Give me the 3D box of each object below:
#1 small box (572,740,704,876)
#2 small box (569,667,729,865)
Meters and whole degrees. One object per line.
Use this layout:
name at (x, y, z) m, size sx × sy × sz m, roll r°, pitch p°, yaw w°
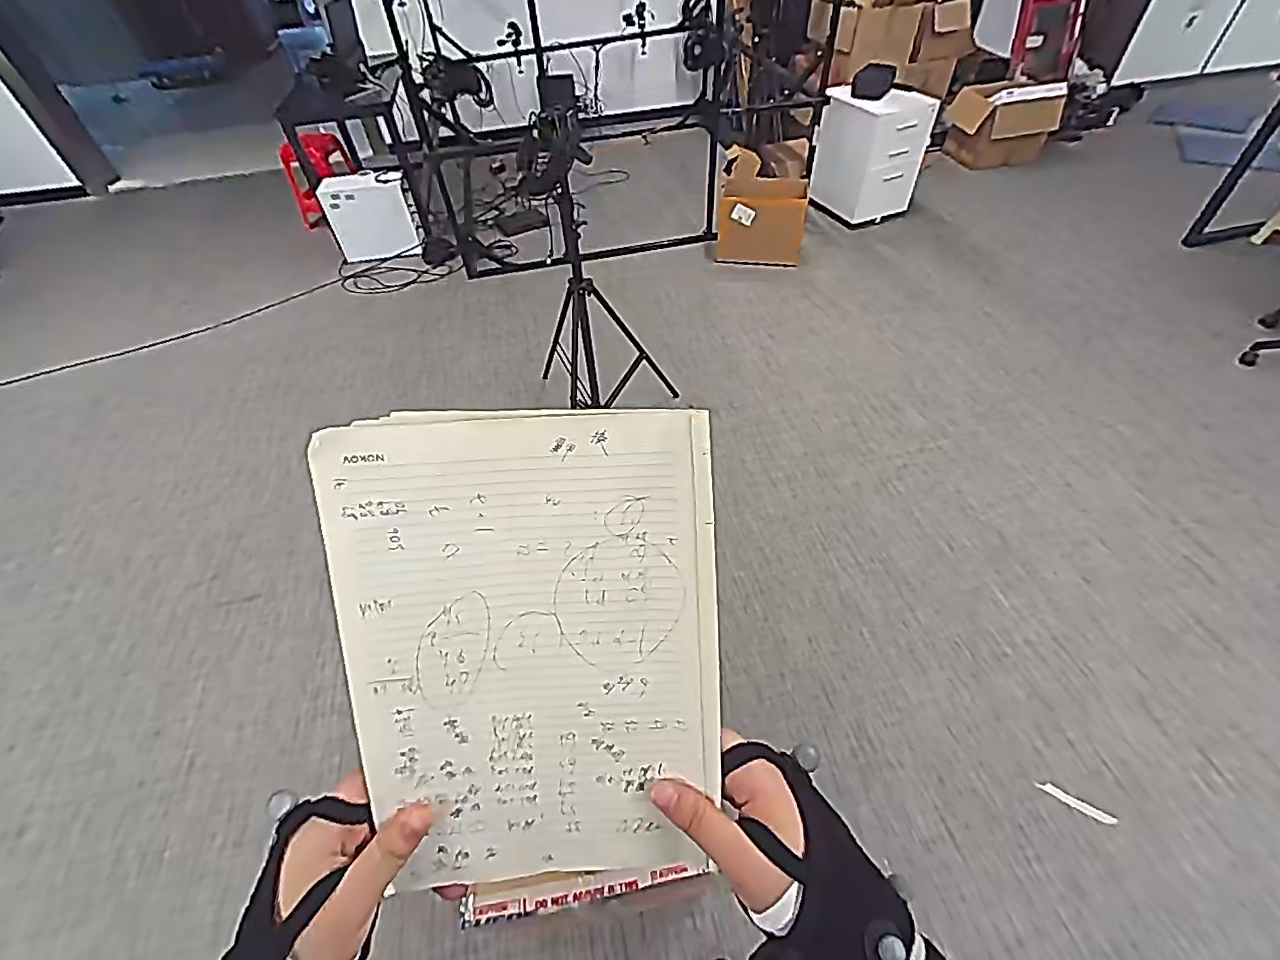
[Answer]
small box at (0.002, 0.478, 0.824) m, size 0.179 × 0.176 × 0.168 m, roll -12°, pitch 50°, yaw -8°
small box at (0.003, 0.370, 0.699) m, size 0.168 × 0.176 × 0.179 m, roll -9°, pitch 50°, yaw -7°
